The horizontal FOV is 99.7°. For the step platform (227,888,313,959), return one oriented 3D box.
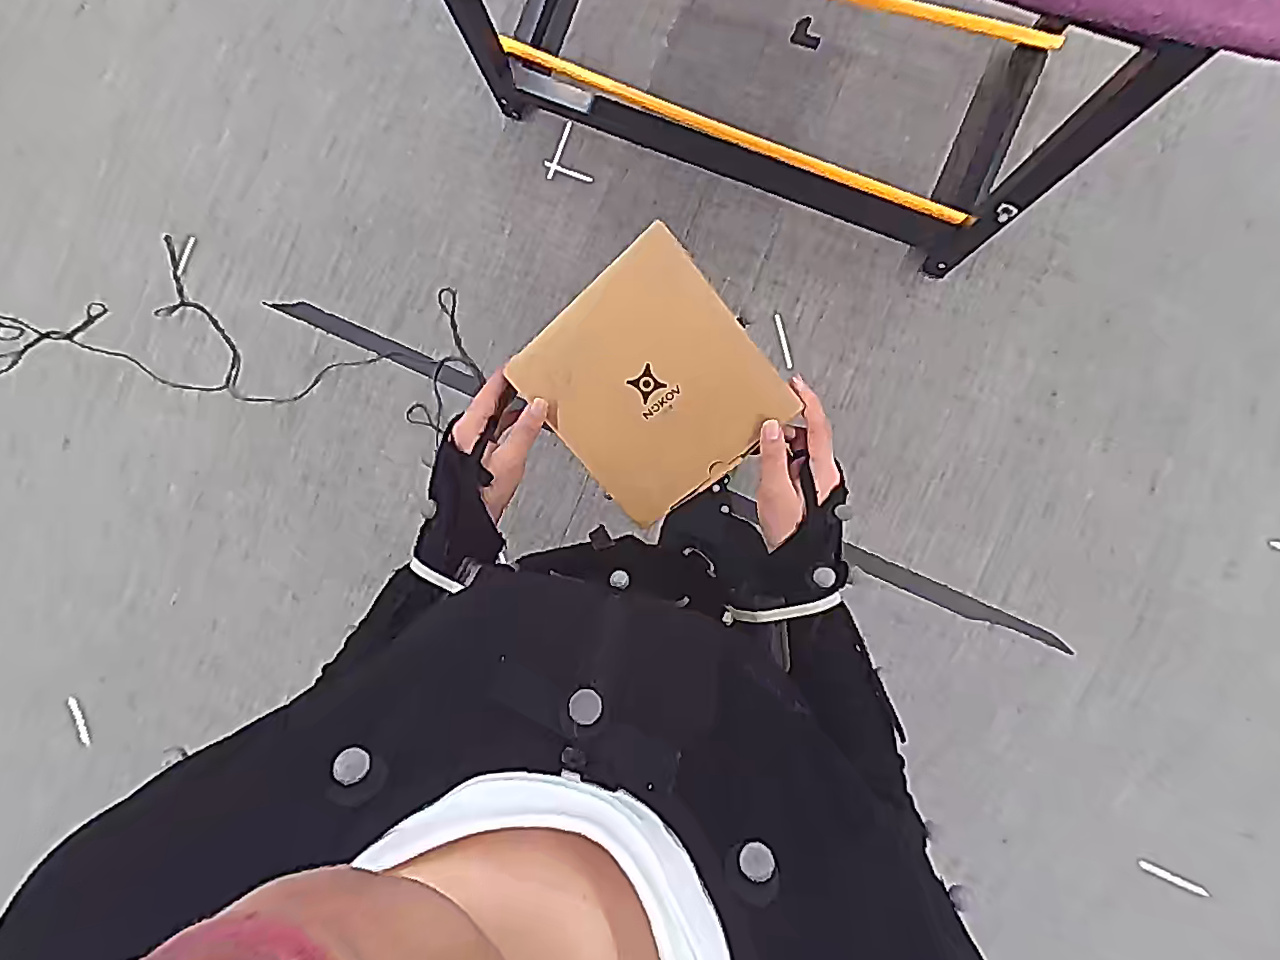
[{"bbox_3d":[-0.708,1.339,1.335,0.684,0.204,0.286,23,92,4],"label":"step platform"}]
